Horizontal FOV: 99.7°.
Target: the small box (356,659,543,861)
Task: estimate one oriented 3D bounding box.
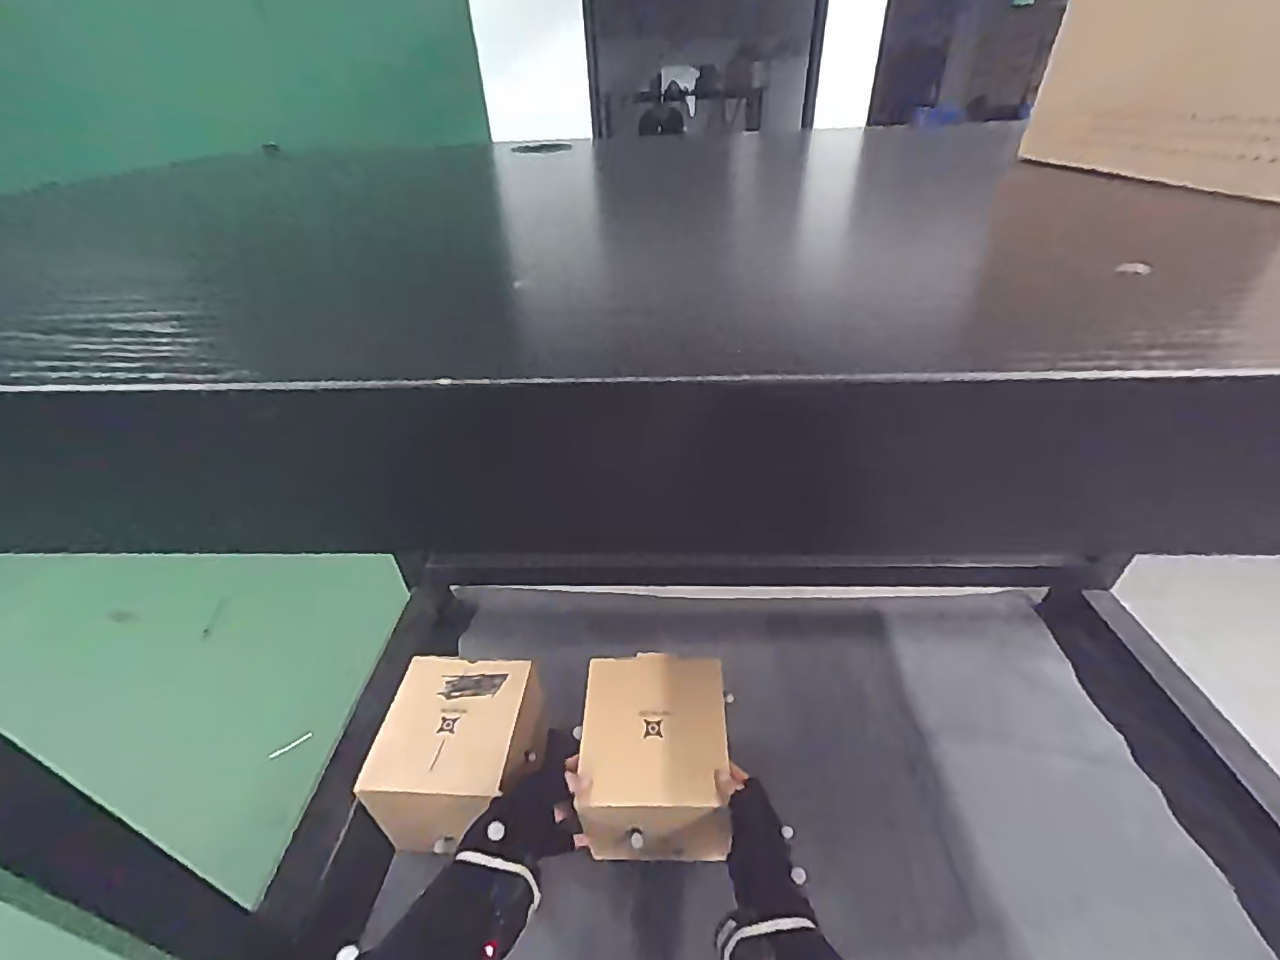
[{"bbox_3d":[-0.229,0.361,0.709,0.168,0.176,0.179,1,36,4],"label":"small box"}]
